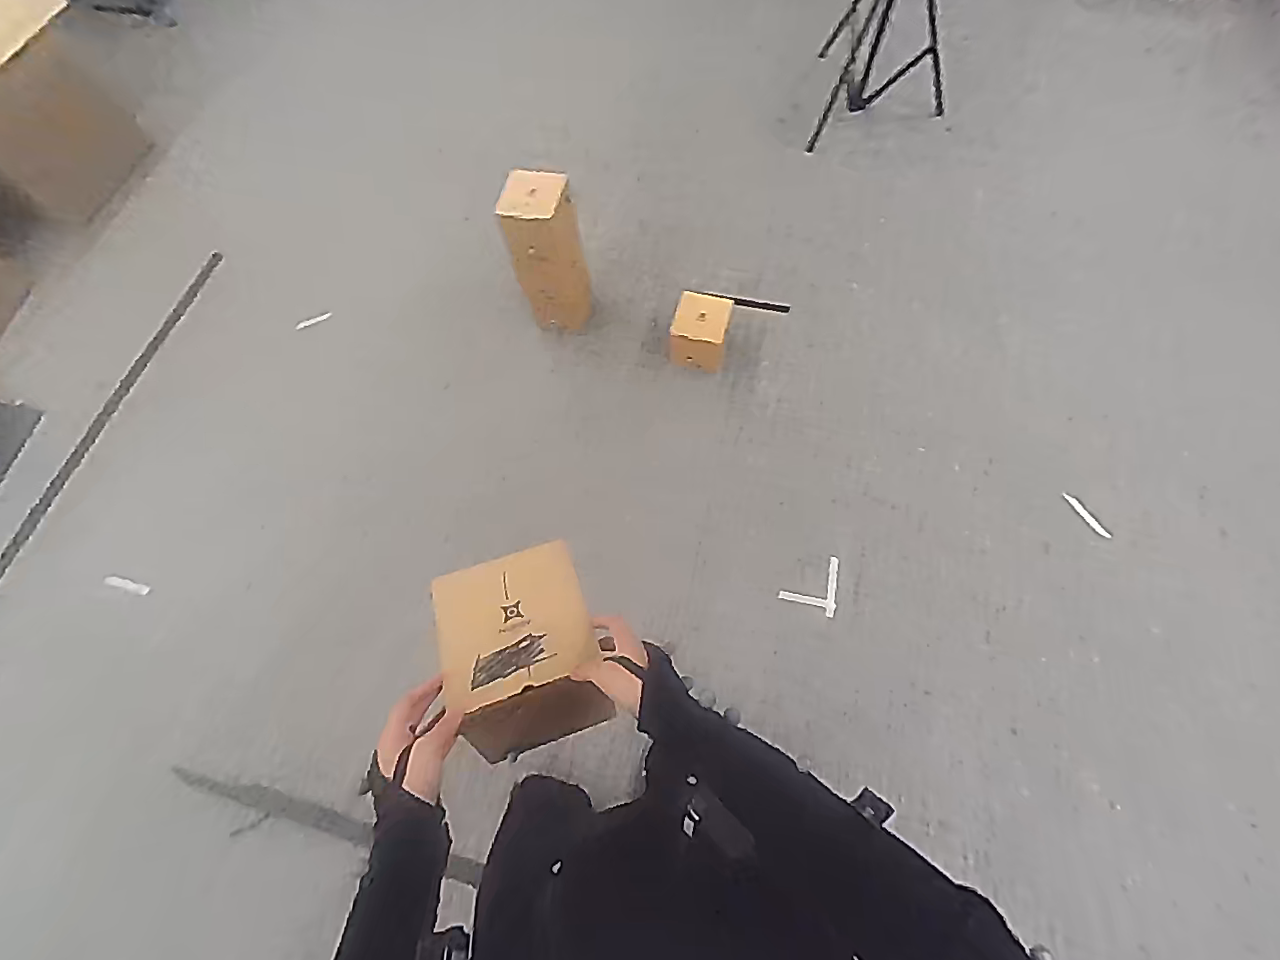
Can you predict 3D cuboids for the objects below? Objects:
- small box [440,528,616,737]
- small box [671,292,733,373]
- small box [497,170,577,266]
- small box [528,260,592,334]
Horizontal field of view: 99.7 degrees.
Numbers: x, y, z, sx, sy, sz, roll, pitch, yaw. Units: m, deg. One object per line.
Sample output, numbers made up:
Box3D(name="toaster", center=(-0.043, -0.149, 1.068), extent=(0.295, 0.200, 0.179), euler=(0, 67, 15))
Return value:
Box3D(name="small box", center=(-0.132, 0.193, 0.664), extent=(0.168, 0.176, 0.179), euler=(-15, 49, -11))
Box3D(name="small box", center=(0.198, -0.483, 1.780), extent=(0.168, 0.176, 0.179), euler=(14, 70, 8))
Box3D(name="small box", center=(-0.288, -0.754, 1.558), extent=(0.168, 0.176, 0.179), euler=(10, 69, 8))
Box3D(name="small box", center=(-0.266, -0.633, 1.862), extent=(0.168, 0.176, 0.179), euler=(10, 68, 8))
